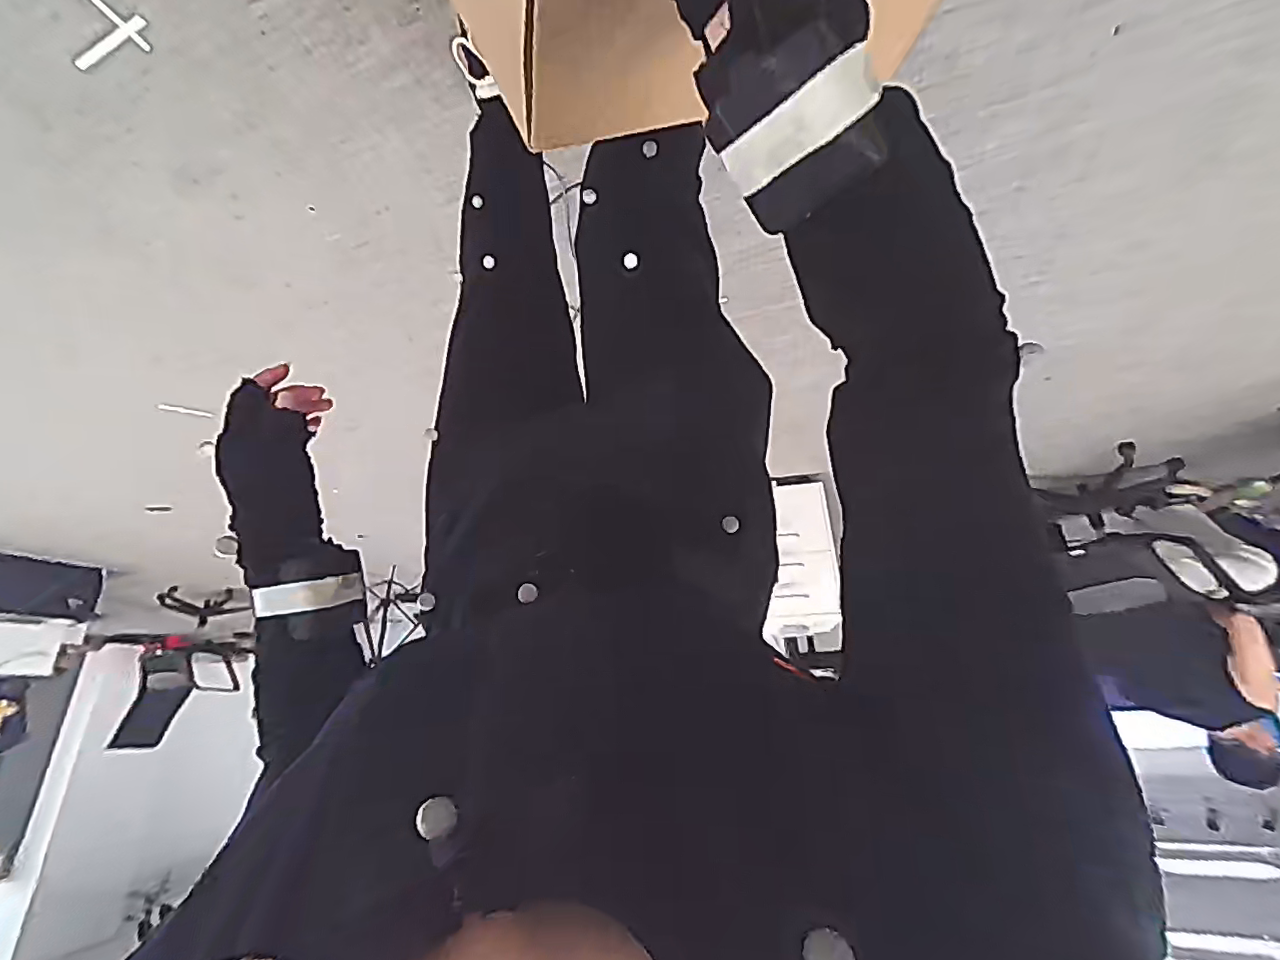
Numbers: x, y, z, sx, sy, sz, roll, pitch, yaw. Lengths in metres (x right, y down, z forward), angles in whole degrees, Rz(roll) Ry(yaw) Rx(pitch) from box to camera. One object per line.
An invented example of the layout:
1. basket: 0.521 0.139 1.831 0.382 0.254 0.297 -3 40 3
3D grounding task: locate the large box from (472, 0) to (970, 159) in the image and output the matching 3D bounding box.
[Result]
1. large box: 0.027 -0.474 0.290 0.320 0.408 0.320 -21 169 -17
